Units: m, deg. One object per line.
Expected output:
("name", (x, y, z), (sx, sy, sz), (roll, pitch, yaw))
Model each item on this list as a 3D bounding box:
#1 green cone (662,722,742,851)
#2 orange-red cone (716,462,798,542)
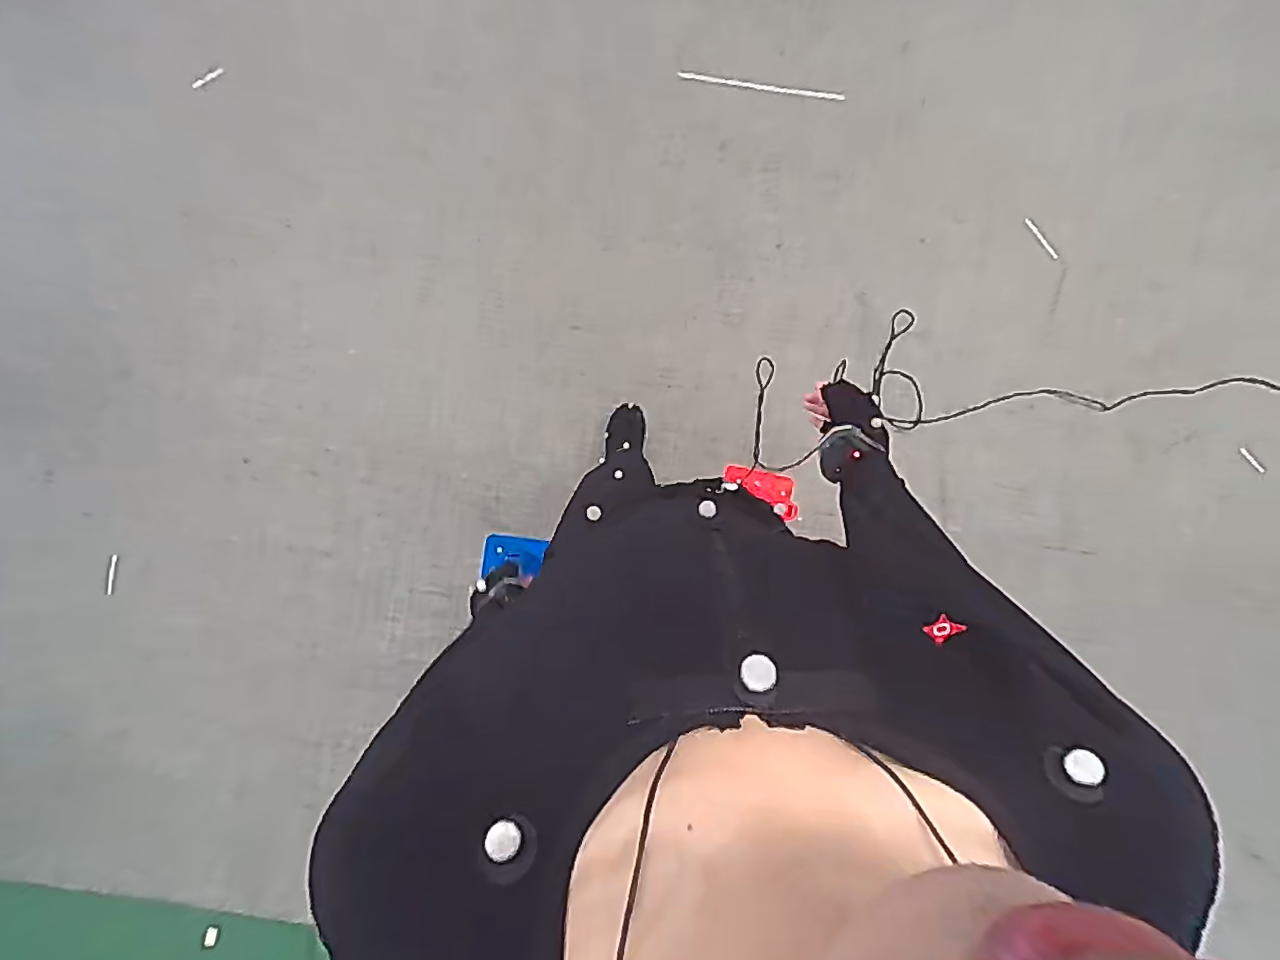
("green cone", (0.176, 0.779, 1.326), (0.200, 0.368, 0.202), (11, 88, -1))
("orange-red cone", (0.325, 0.063, 1.340), (0.198, 0.360, 0.199), (13, 91, 0))
